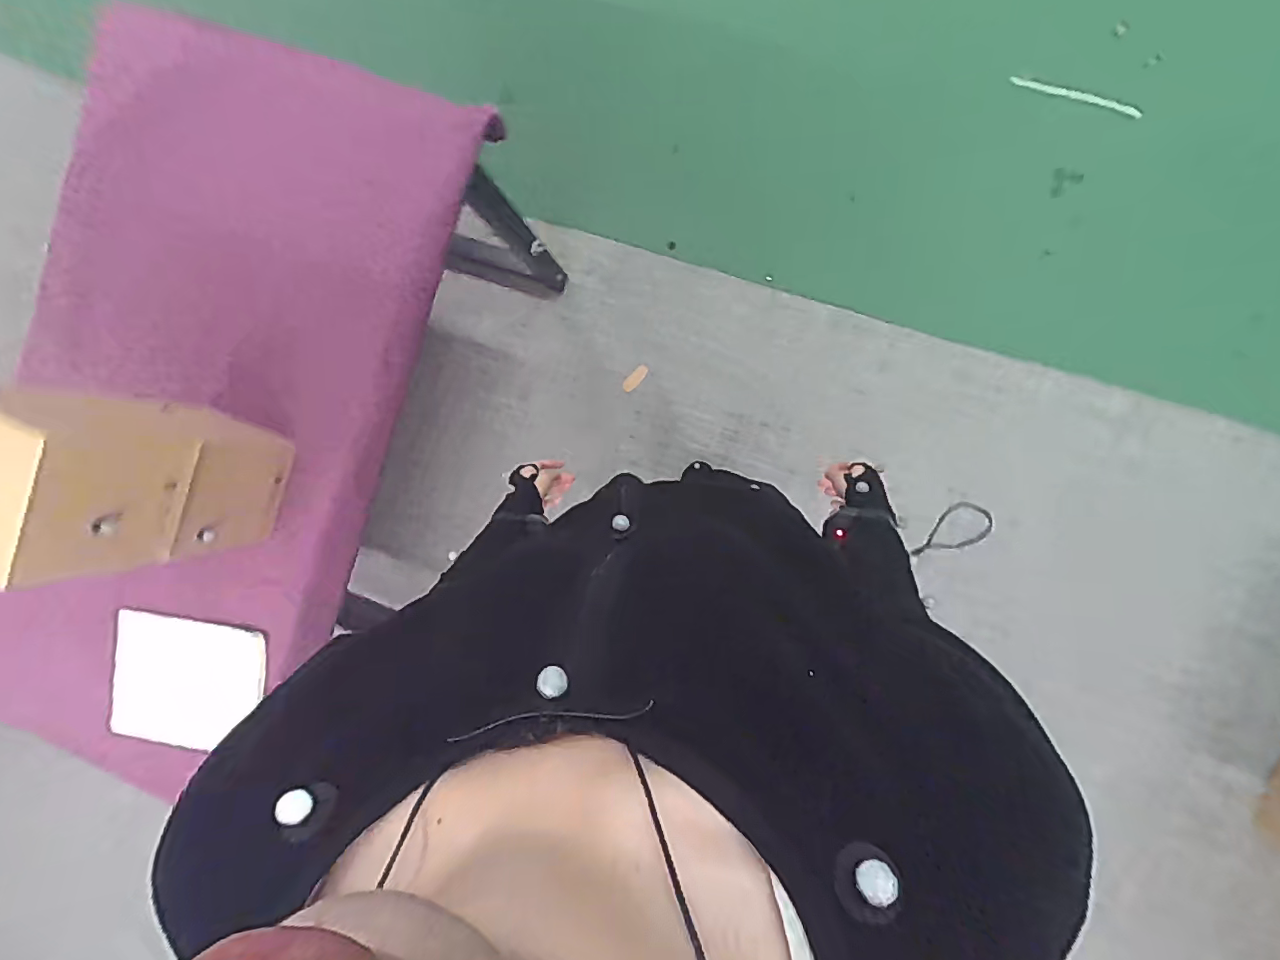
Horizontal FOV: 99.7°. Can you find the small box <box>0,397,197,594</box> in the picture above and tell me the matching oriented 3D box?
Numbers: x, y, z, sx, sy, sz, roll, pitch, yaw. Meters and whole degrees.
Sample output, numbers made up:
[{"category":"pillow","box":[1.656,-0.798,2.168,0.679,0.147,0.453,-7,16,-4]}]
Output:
[{"category":"small box","box":[-0.668,0.006,0.619,0.179,0.176,0.168,20,95,8]}]
